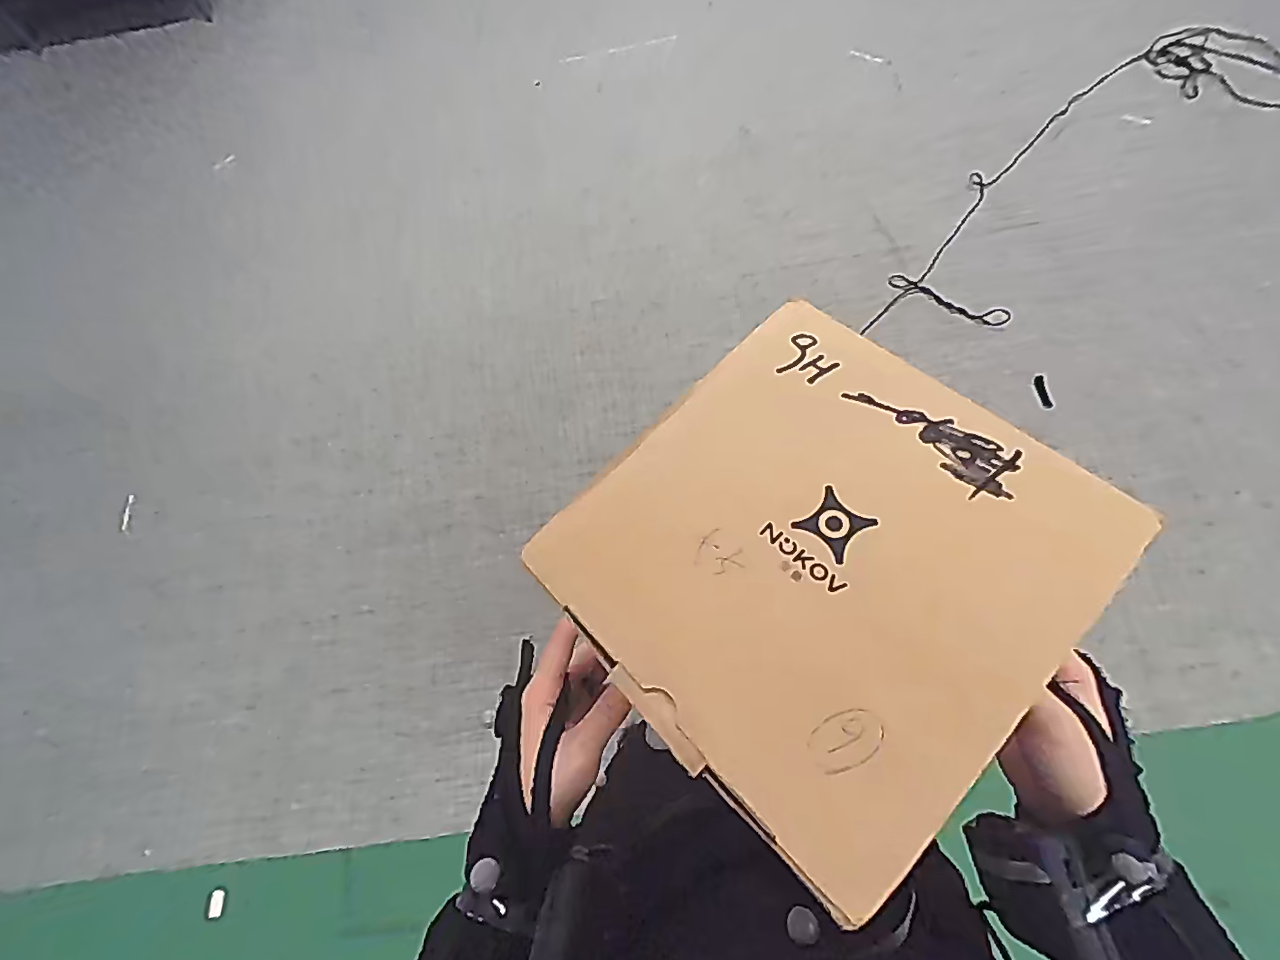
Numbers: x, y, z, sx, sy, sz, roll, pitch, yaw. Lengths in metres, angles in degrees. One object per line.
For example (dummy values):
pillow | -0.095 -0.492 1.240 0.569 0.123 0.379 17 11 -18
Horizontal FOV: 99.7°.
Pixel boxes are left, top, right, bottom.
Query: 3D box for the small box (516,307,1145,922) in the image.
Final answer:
small box | 0.076 0.058 0.277 0.179 0.176 0.168 -43 66 -11
